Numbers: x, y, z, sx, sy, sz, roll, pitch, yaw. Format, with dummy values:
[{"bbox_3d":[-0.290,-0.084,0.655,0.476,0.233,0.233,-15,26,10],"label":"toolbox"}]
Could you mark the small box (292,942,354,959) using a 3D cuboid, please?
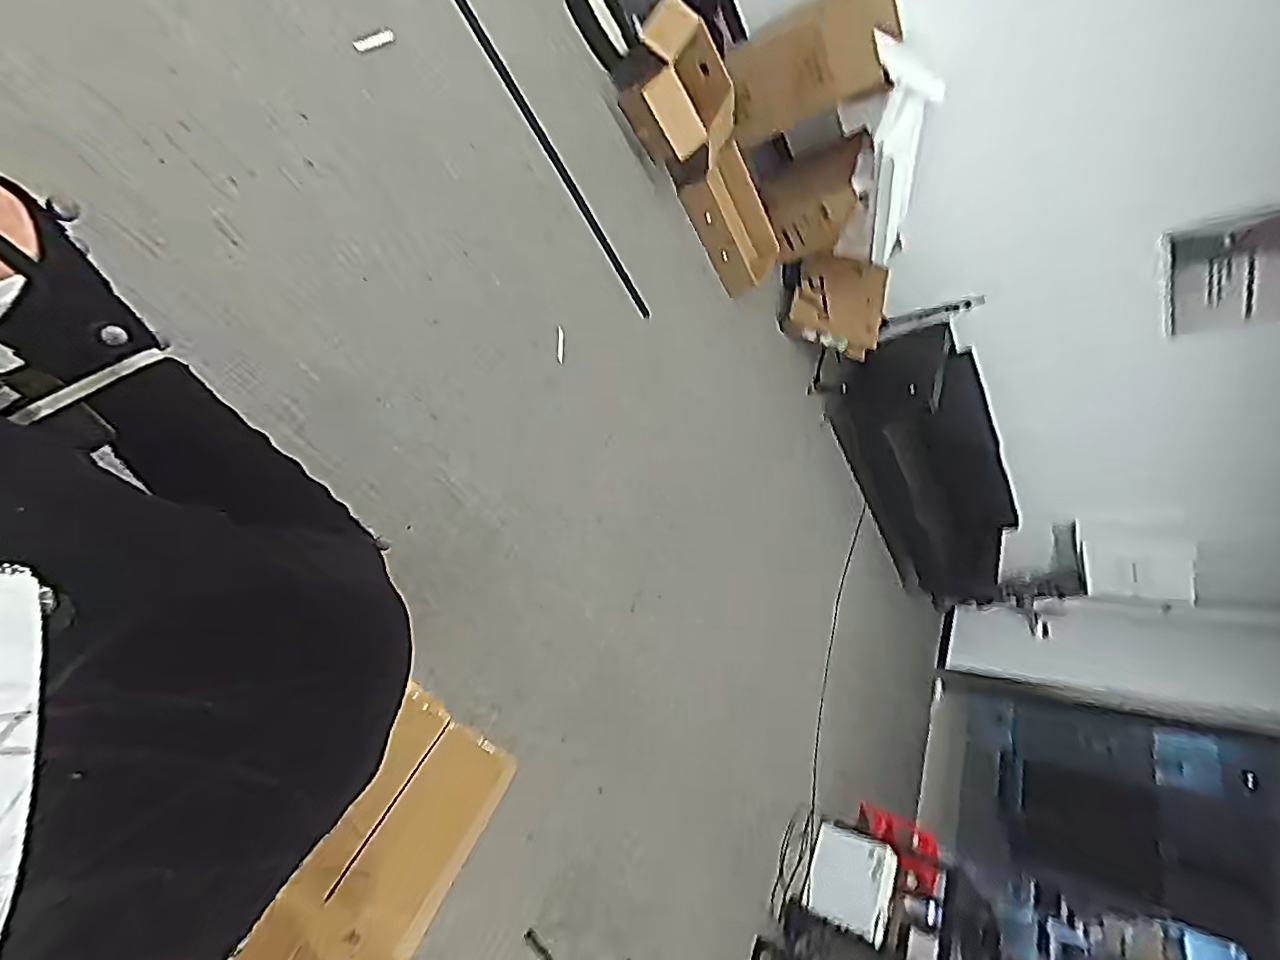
[{"bbox_3d":[-0.339,0.656,0.586,0.168,0.176,0.179,54,50,-29],"label":"small box"}]
